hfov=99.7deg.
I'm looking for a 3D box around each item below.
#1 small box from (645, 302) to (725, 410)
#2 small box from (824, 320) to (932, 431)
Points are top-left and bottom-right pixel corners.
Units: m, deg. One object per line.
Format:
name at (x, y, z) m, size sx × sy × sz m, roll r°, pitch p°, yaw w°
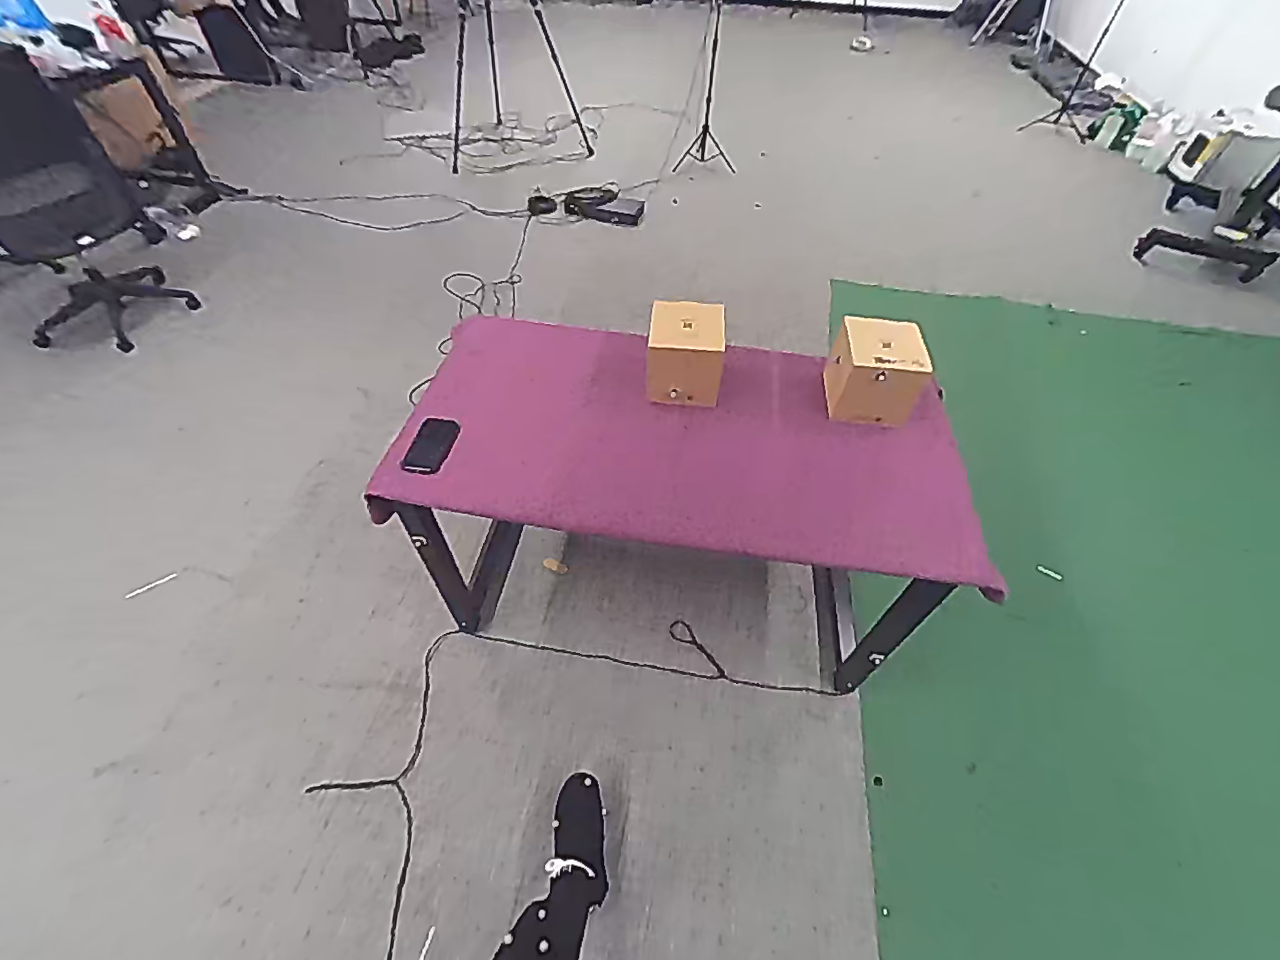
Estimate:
small box at (0.102, -0.287, 1.254) m, size 0.168 × 0.176 × 0.179 m, roll 5°, pitch 51°, yaw 2°
small box at (0.528, -0.237, 1.231) m, size 0.168 × 0.176 × 0.179 m, roll 6°, pitch 50°, yaw 3°
